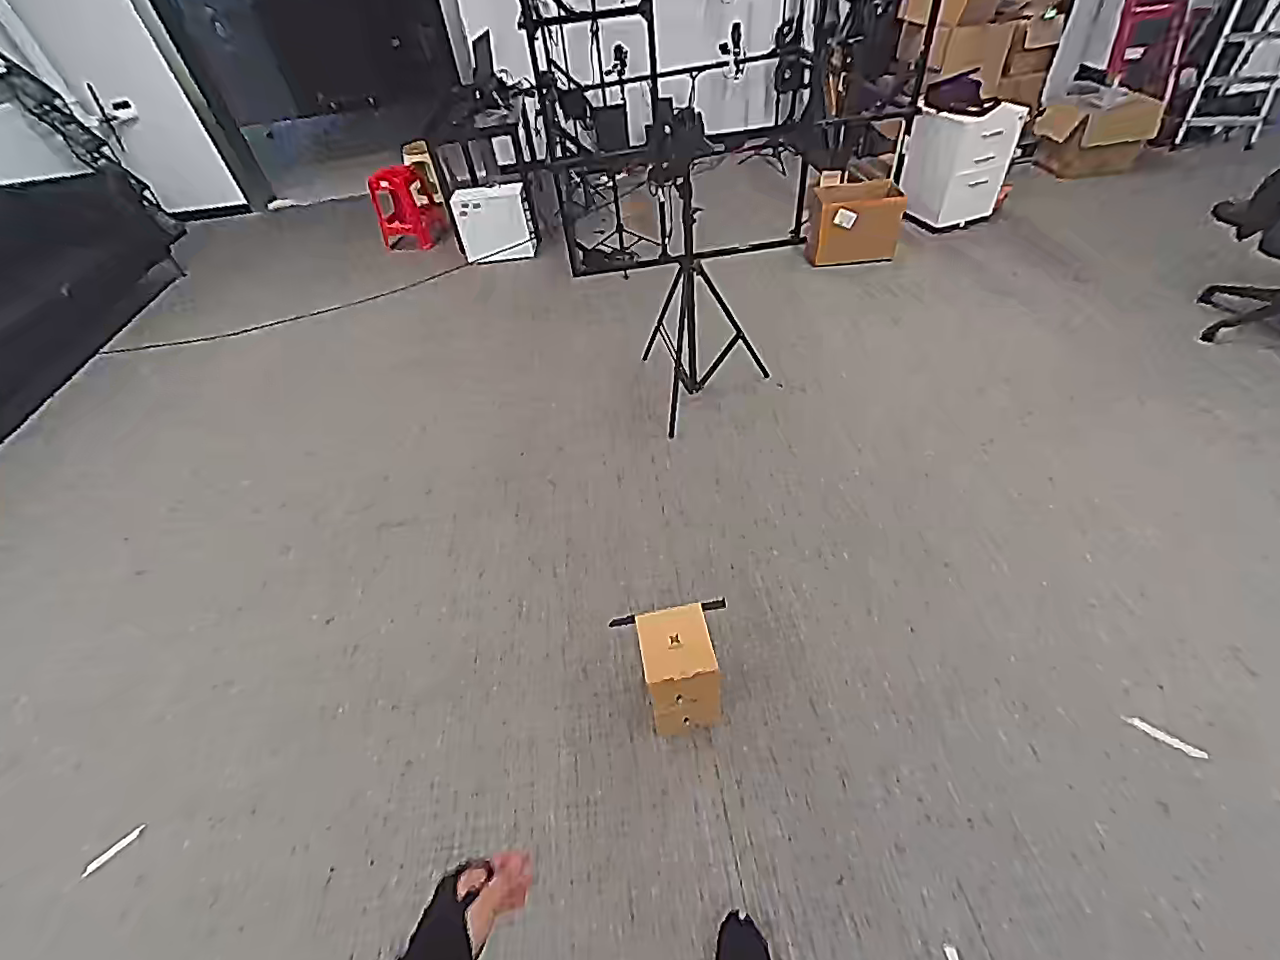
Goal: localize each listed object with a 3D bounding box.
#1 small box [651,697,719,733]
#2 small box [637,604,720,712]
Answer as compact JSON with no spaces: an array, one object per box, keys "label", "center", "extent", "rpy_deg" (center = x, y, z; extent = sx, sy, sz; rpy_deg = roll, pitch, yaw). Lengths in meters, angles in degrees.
[{"label":"small box","center":[0.107,0.543,1.416],"extent":[0.168,0.176,0.179],"rpy_deg":[-11,45,-4]},{"label":"small box","center":[0.090,0.428,1.301],"extent":[0.168,0.176,0.179],"rpy_deg":[-11,46,-2]}]
